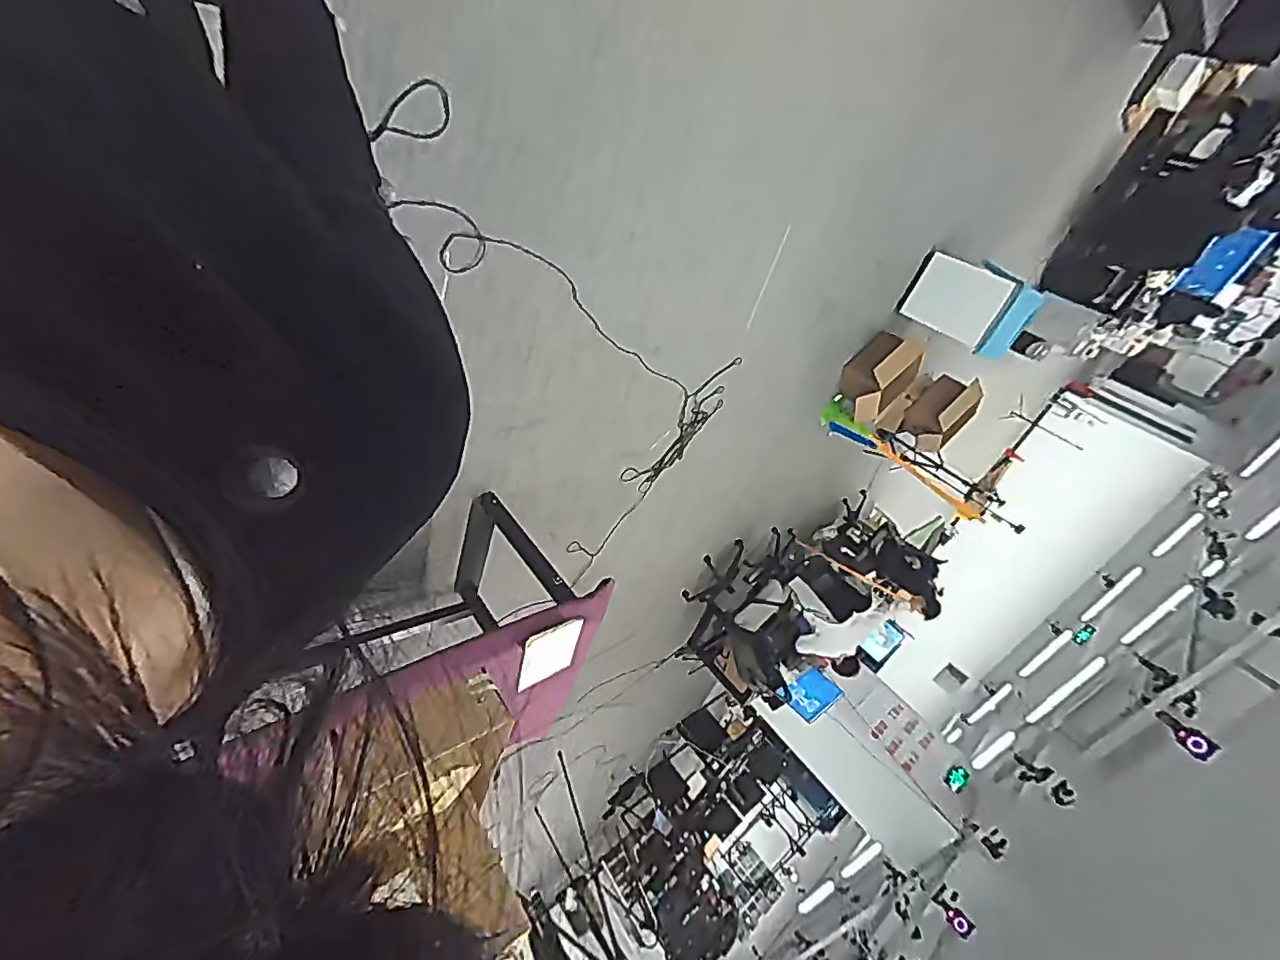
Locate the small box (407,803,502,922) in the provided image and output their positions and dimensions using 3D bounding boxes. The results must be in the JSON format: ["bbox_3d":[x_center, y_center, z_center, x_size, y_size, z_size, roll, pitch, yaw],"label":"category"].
[{"bbox_3d":[-0.502,1.018,1.456,0.179,0.176,0.168,-12,133,-42],"label":"small box"}]

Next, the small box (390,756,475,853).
[{"bbox_3d":[-0.599,0.927,1.548,0.168,0.176,0.179,-10,131,-44],"label":"small box"}]
